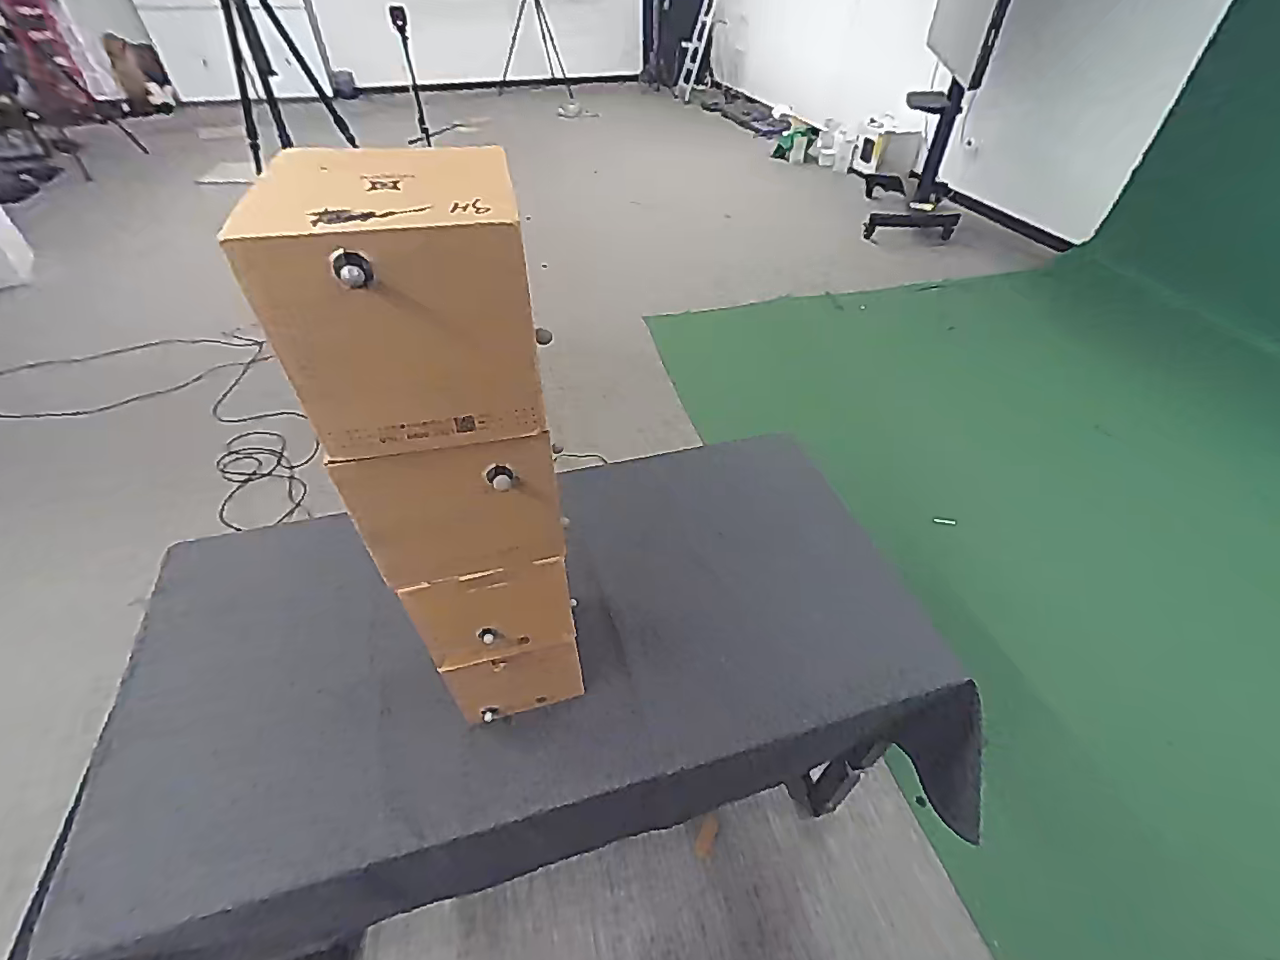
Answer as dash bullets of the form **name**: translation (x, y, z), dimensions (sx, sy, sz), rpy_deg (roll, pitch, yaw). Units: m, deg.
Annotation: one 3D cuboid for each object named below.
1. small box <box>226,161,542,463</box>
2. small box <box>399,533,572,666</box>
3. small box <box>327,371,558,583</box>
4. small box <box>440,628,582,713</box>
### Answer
- **small box**: translation (-0.176, -0.138, 0.433), dimensions (0.168, 0.176, 0.179), rpy_deg (-9, 45, -10)
- **small box**: translation (-0.183, 0.096, 0.663), dimensions (0.168, 0.176, 0.179), rpy_deg (-11, 46, -11)
- **small box**: translation (-0.181, -0.020, 0.546), dimensions (0.179, 0.176, 0.168), rpy_deg (-10, 45, -10)
- **small box**: translation (-0.184, 0.212, 0.777), dimensions (0.168, 0.176, 0.179), rpy_deg (-12, 45, -12)
